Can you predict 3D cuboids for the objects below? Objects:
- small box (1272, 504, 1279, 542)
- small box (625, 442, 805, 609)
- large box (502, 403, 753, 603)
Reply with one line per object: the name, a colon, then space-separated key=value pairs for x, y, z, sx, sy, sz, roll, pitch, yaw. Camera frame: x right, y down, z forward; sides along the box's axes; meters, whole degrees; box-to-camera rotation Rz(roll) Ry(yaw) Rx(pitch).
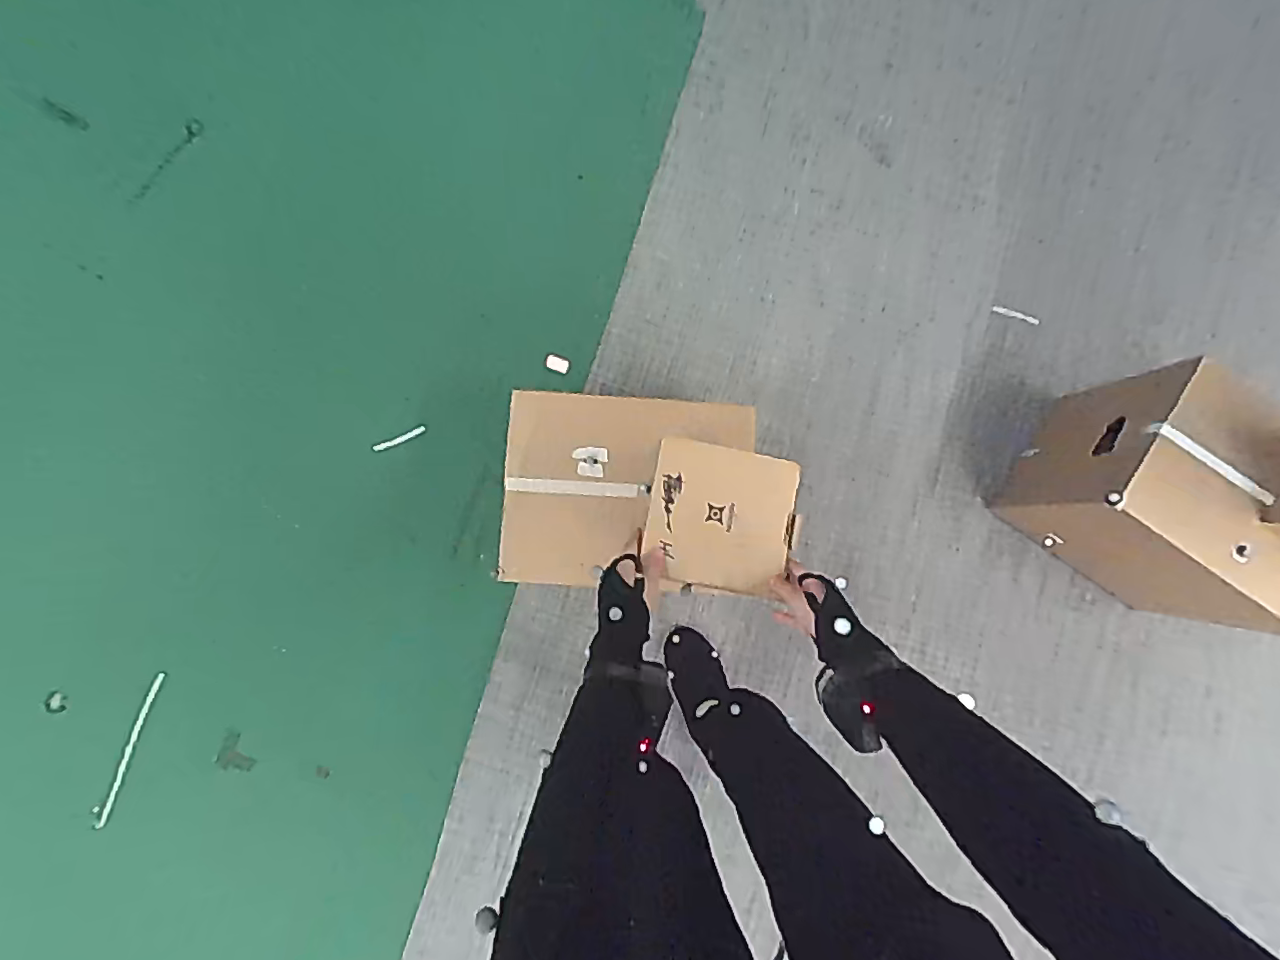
small box: x=1.131 y=0.053 z=0.805 sx=0.168 sy=0.176 sz=0.179 roll=36 pitch=84 yaw=2
small box: x=0.087 y=0.064 z=0.702 sx=0.179 sy=0.176 sz=0.168 roll=13 pitch=78 yaw=-6
large box: x=-0.016 y=0.047 z=1.026 sx=0.408 sy=0.320 sz=0.320 roll=4 pitch=84 yaw=0
